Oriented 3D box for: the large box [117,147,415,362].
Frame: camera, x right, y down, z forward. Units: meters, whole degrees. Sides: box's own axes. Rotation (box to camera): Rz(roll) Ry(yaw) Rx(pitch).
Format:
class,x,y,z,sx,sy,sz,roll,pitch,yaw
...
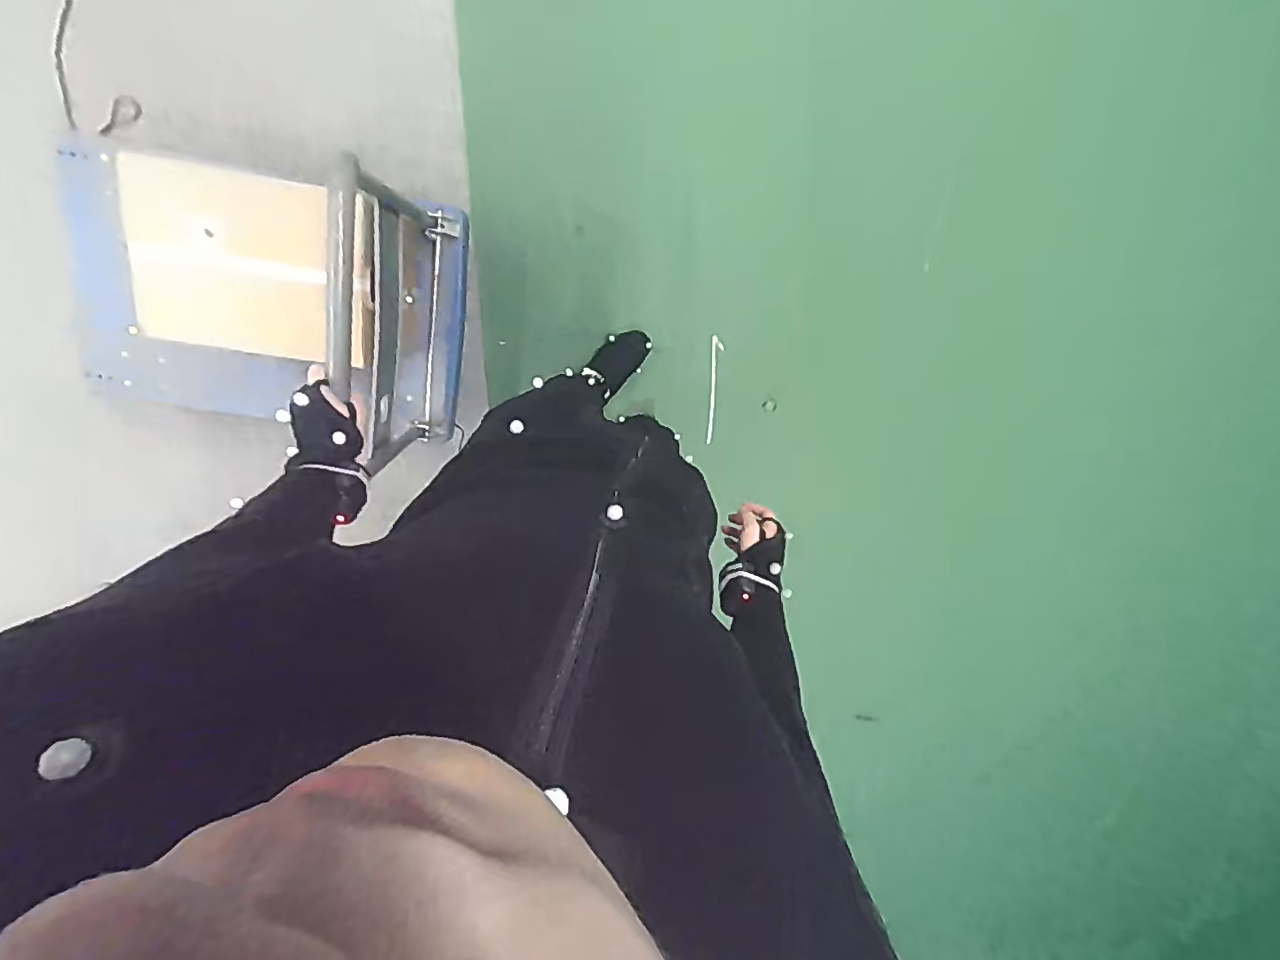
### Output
class,x,y,z,sx,sy,sz,roll,pitch,yaw
large box,-0.718,-0.442,1.115,0.408,0.320,0.320,8,107,-7
